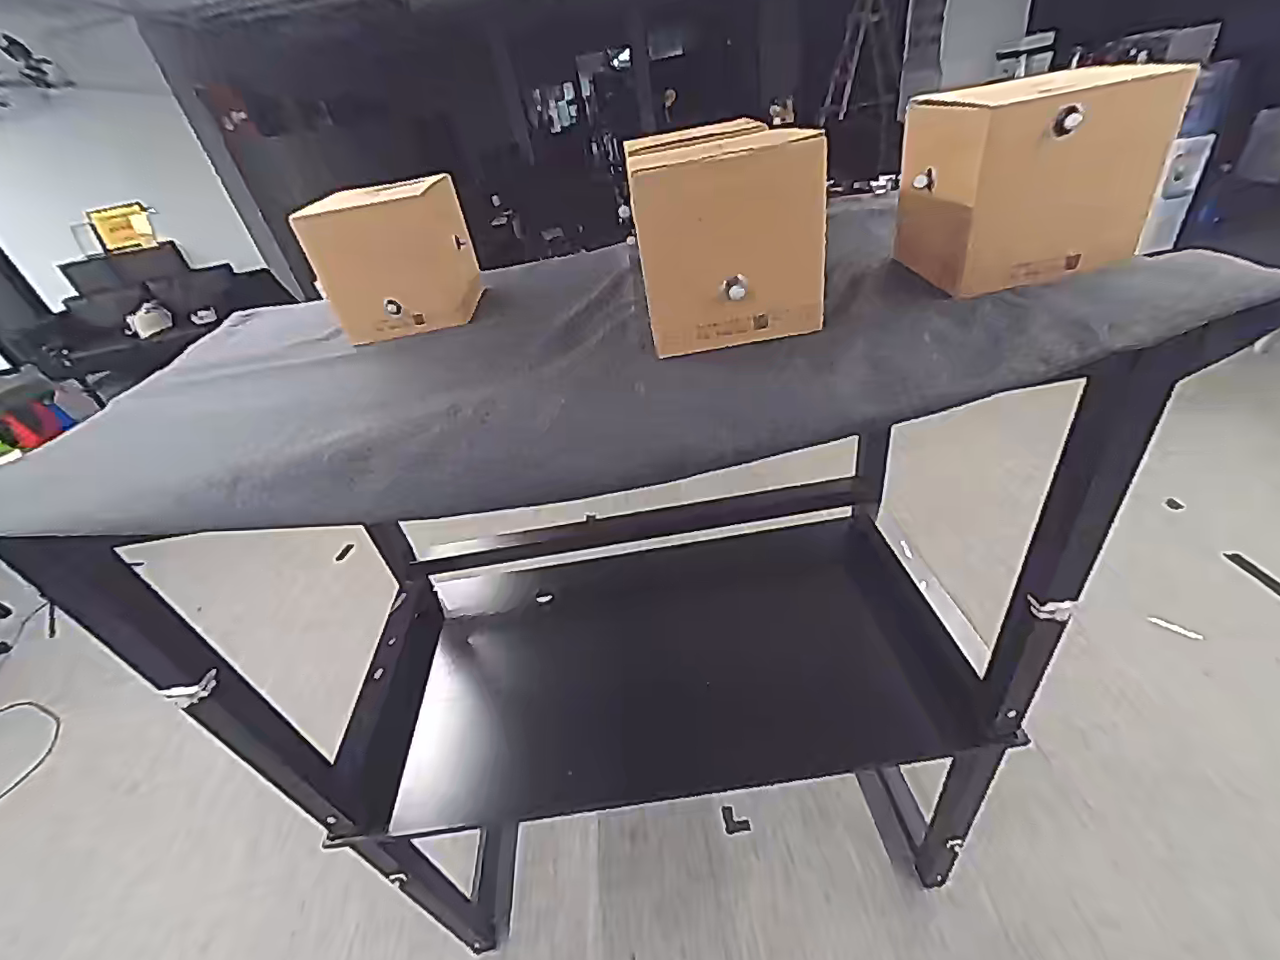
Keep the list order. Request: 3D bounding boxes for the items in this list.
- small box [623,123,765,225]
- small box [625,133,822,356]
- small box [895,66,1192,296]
[{"bbox_3d":[0.075,-0.389,0.765,0.179,0.176,0.168,-9,35,3],"label":"small box"},{"bbox_3d":[0.079,-0.245,0.560,0.168,0.176,0.179,-9,34,4],"label":"small box"},{"bbox_3d":[0.382,-0.303,0.559,0.168,0.176,0.179,-8,35,5],"label":"small box"}]
